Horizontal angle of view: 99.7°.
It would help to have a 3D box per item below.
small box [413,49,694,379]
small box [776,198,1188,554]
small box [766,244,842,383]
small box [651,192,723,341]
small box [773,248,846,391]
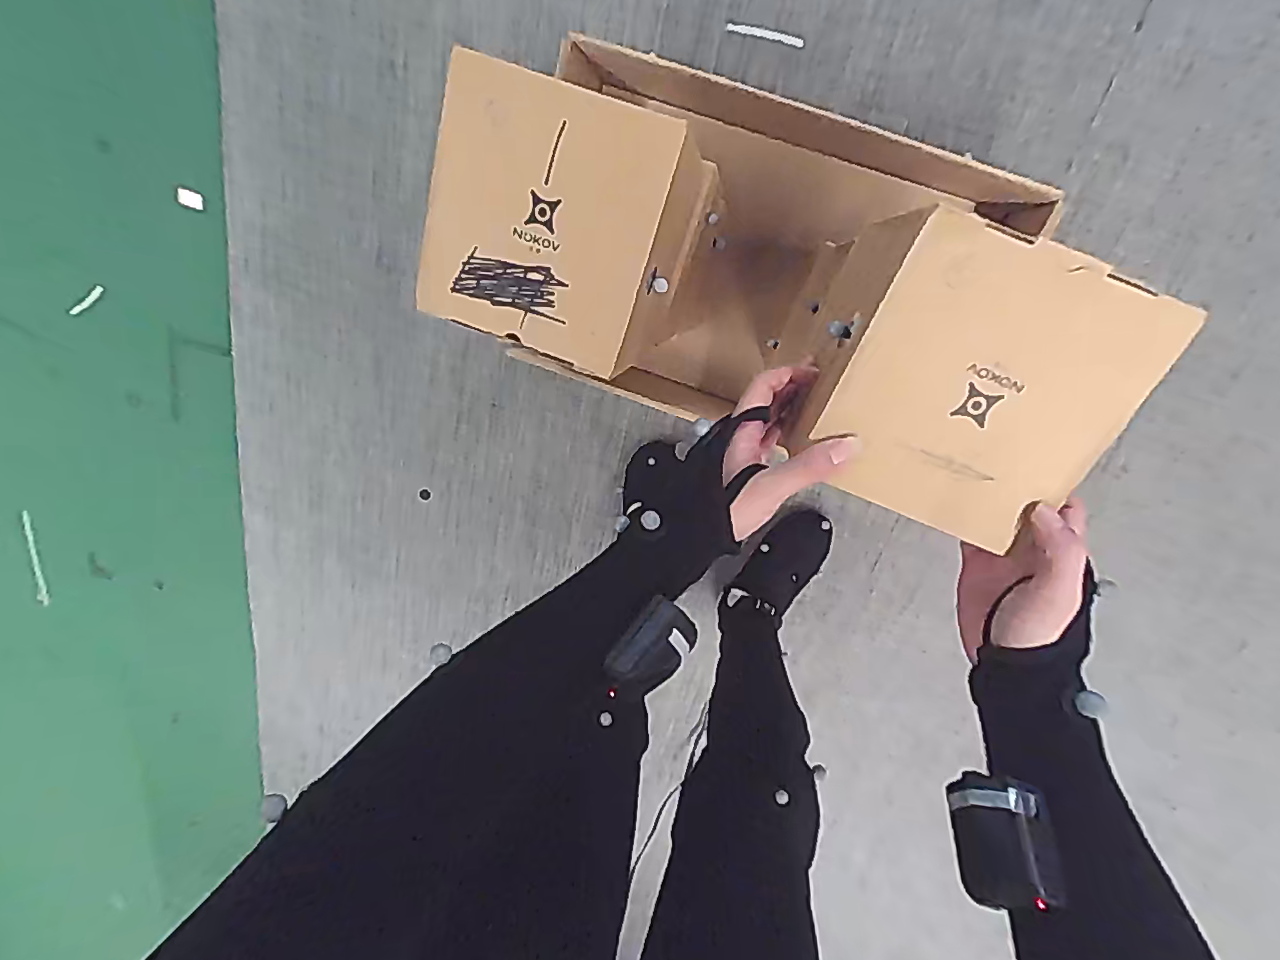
[{"bbox_3d":[-0.060,-0.205,0.455,0.168,0.176,0.179,20,111,3],"label":"small box"},{"bbox_3d":[0.214,-0.082,0.407,0.168,0.176,0.179,22,113,-1],"label":"small box"},{"bbox_3d":[0.279,-0.204,0.742,0.168,0.176,0.179,21,113,3],"label":"small box"},{"bbox_3d":[0.010,-0.312,0.757,0.168,0.176,0.179,21,112,4],"label":"small box"},{"bbox_3d":[0.254,-0.143,0.592,0.168,0.176,0.179,23,113,3],"label":"small box"}]
